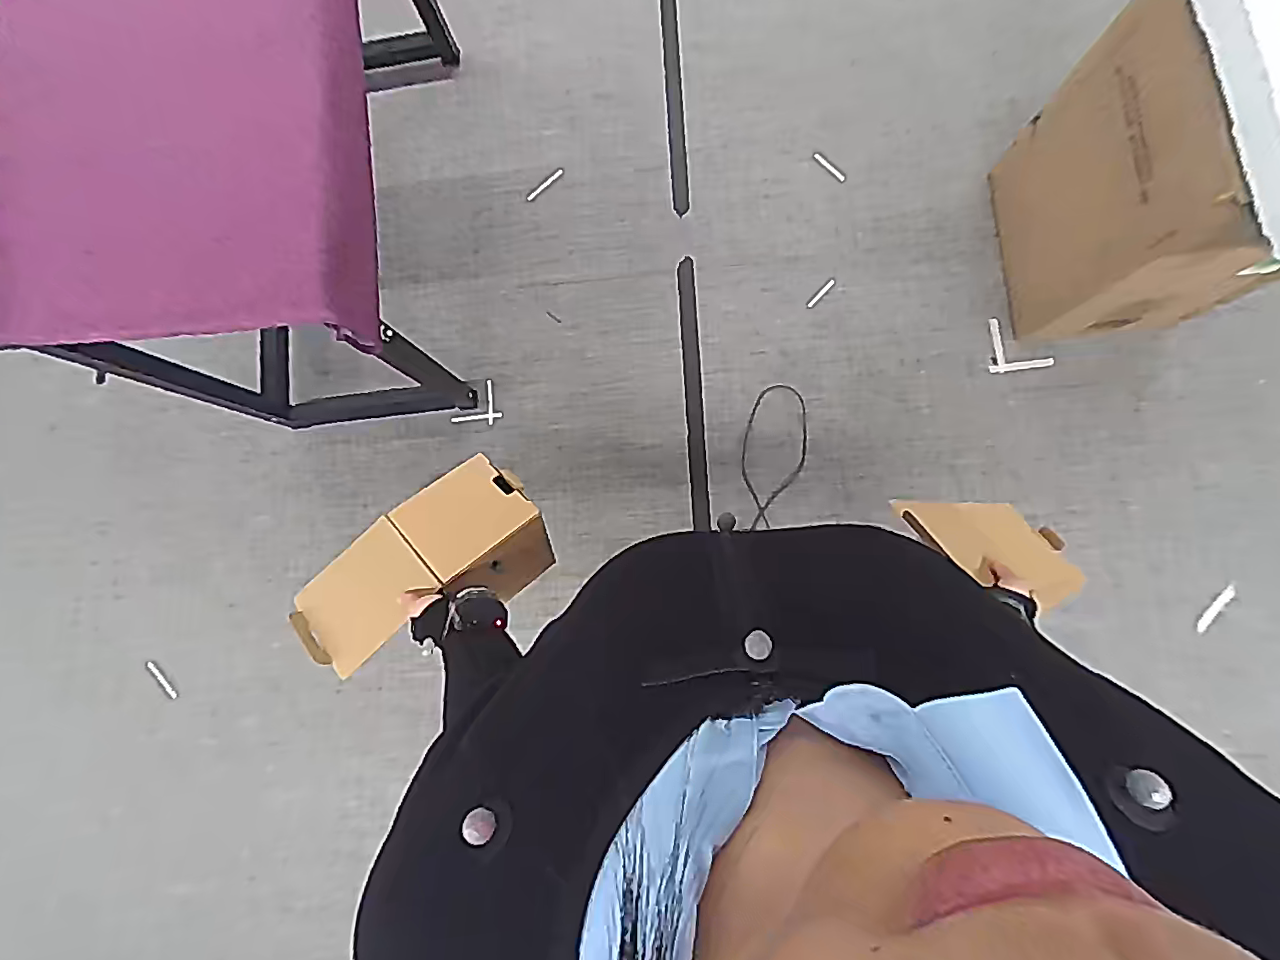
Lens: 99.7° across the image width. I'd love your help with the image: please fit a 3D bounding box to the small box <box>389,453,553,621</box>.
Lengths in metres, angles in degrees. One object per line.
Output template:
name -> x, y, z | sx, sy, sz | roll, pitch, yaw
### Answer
small box -> -0.263, 0.097, 0.880 | 0.179, 0.176, 0.168 | -38, 62, -24
